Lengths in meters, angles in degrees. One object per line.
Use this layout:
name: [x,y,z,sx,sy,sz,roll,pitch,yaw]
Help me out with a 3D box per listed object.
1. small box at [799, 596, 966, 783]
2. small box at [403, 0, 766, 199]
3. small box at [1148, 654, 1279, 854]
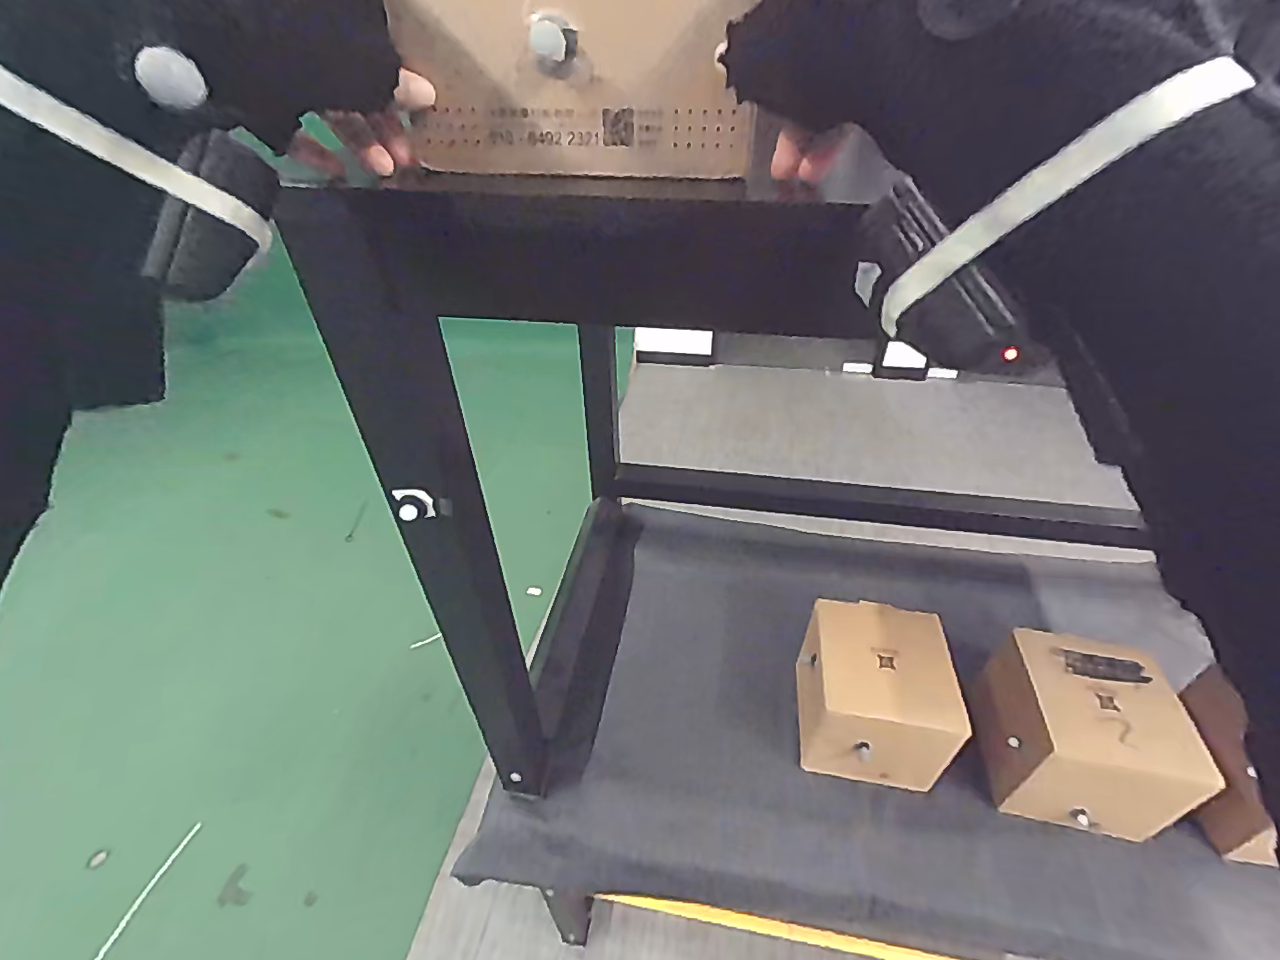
small box: [0.321,0.292,0.756,0.168,0.176,0.179,6,39,9]
small box: [-0.017,-0.261,0.283,0.168,0.176,0.179,5,39,7]
small box: [0.803,0.347,0.668,0.168,0.176,0.179,5,38,8]
